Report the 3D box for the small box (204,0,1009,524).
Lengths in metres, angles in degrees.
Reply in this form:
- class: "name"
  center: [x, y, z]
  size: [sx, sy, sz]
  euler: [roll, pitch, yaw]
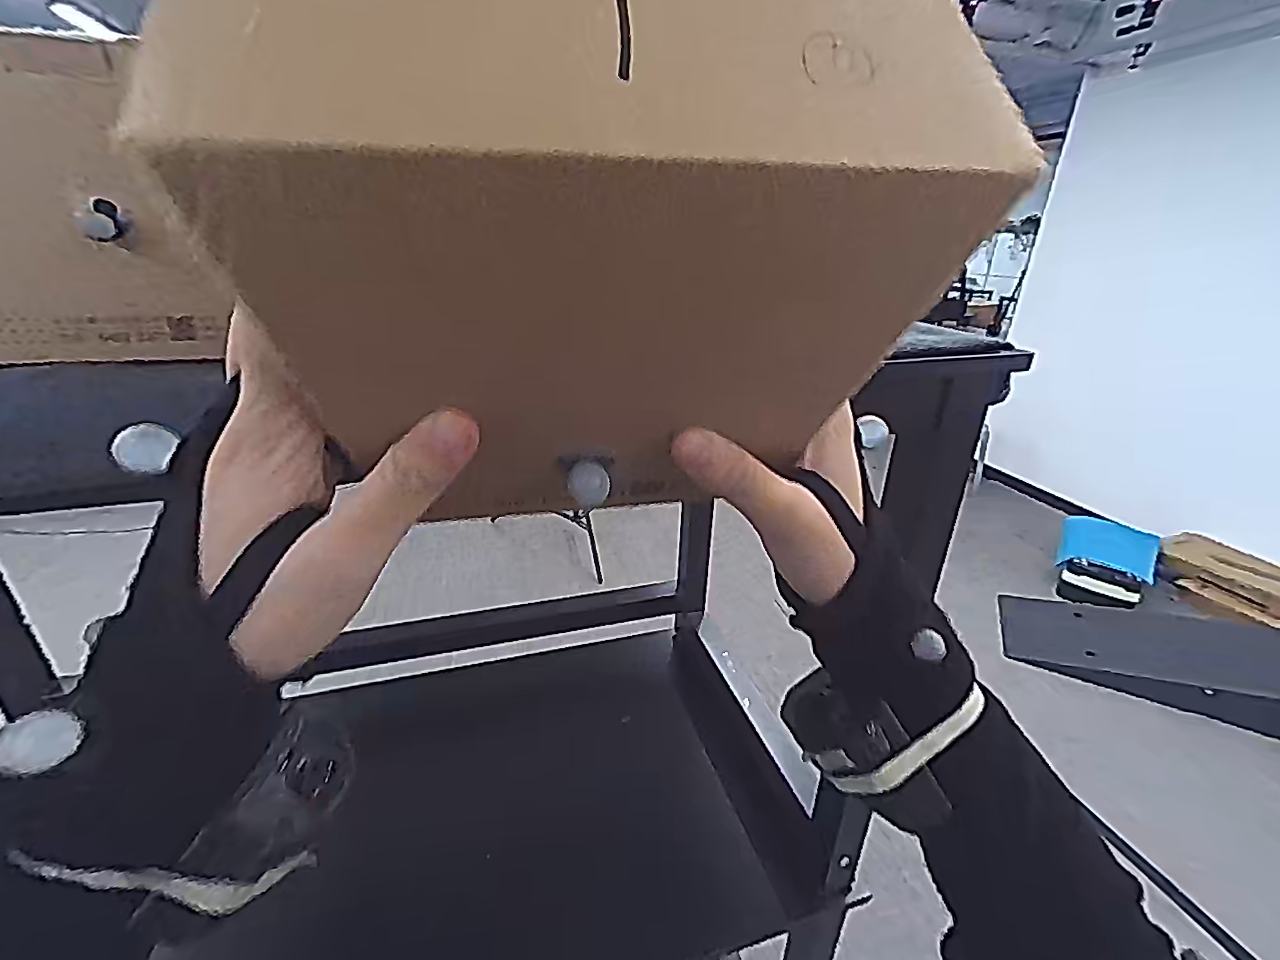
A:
- class: "small box"
  center: [-0.018, -0.097, 0.213]
  size: [0.168, 0.176, 0.179]
  euler: [-4, 66, -11]
